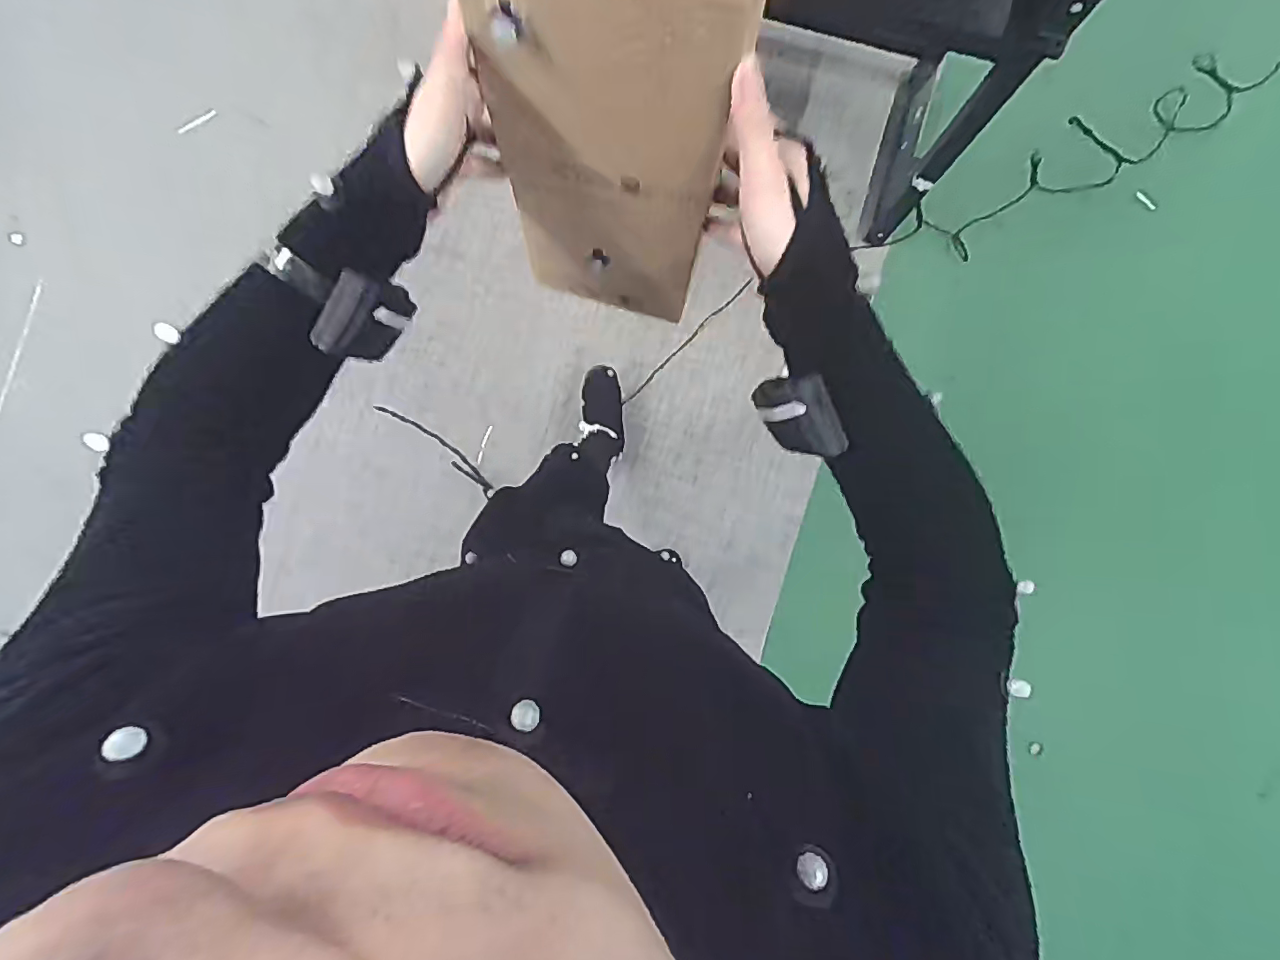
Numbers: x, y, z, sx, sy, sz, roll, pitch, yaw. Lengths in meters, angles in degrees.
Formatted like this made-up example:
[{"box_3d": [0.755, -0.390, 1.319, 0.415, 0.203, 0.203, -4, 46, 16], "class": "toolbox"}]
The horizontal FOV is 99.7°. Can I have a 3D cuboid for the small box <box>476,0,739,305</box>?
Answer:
[{"box_3d": [-0.027, -0.293, 0.498, 0.168, 0.176, 0.179, 18, 76, -1], "class": "small box"}]
